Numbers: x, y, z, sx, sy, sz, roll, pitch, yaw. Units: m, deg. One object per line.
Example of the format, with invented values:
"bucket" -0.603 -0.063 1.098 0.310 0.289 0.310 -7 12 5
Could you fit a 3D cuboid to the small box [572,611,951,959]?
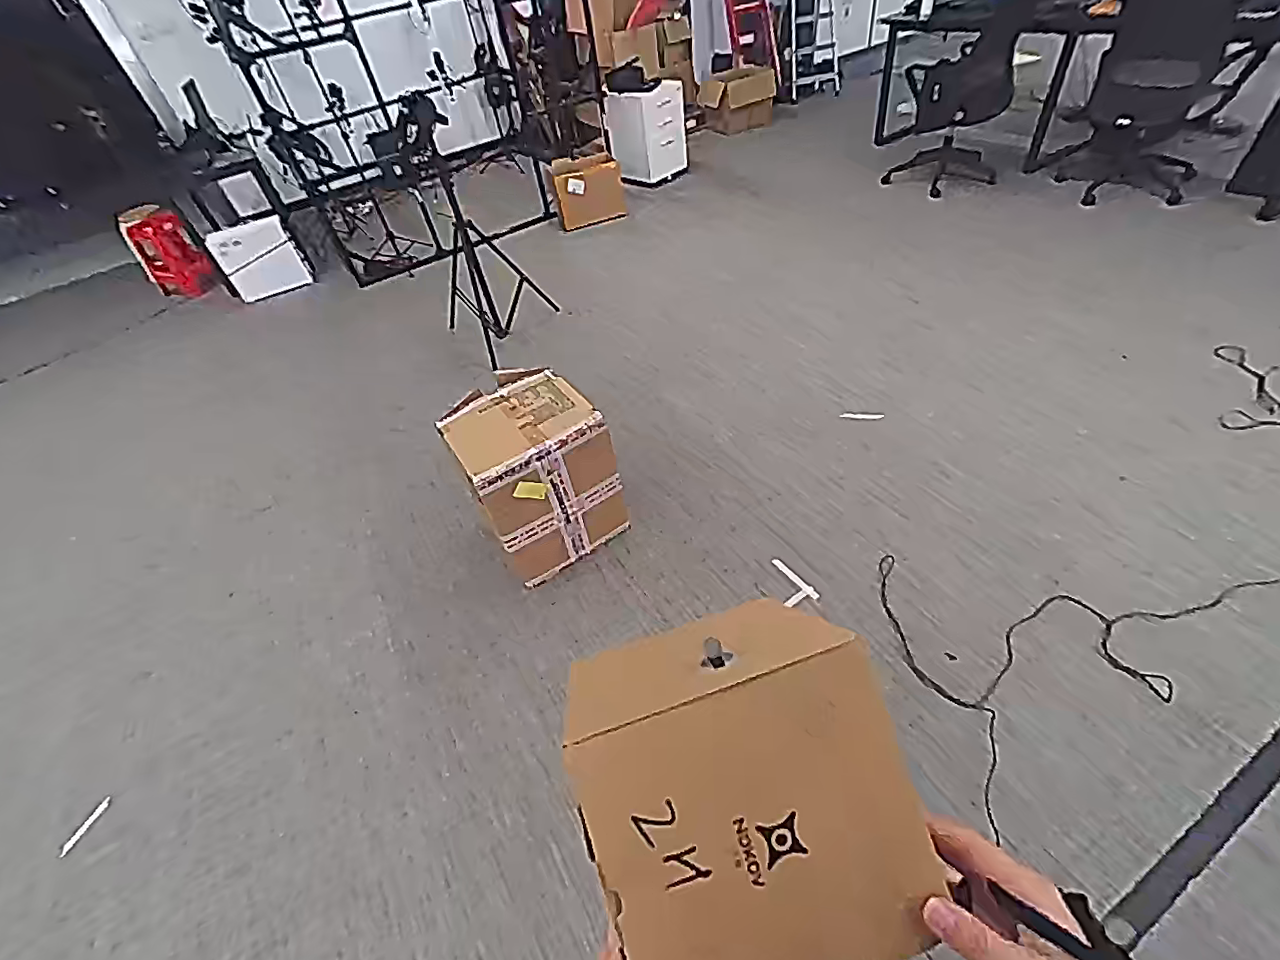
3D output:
"small box" 0.059 0.200 0.369 0.179 0.176 0.168 -17 86 -7
